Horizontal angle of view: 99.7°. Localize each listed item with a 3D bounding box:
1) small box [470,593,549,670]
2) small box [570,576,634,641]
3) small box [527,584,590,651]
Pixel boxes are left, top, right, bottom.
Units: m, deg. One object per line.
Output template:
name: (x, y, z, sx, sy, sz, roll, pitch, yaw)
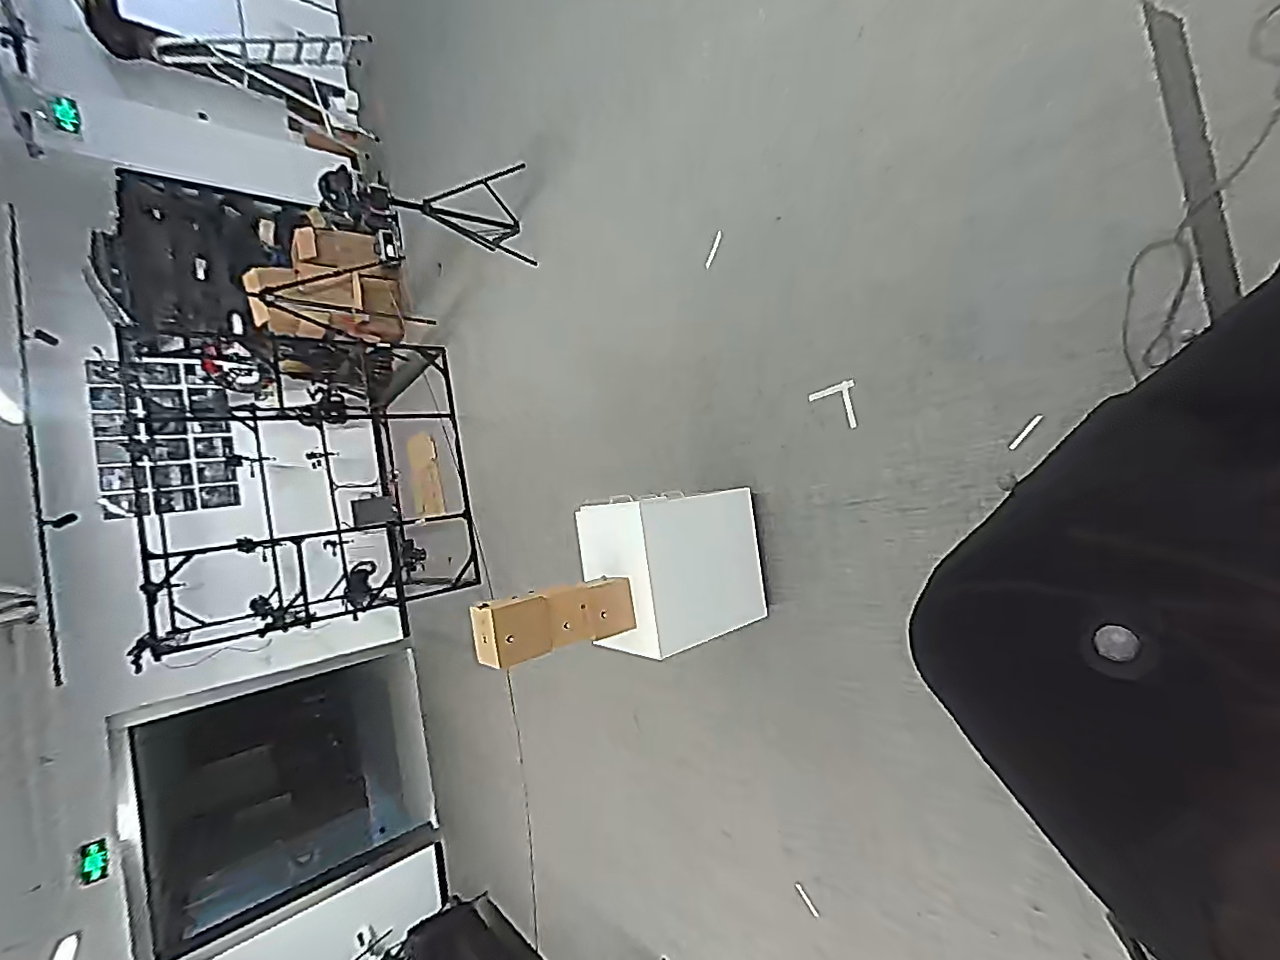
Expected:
small box: (-0.388, 0.448, 1.622, 0.168, 0.176, 0.179, -12, 86, 51)
small box: (-0.137, 0.429, 1.831, 0.168, 0.176, 0.179, -13, 85, 51)
small box: (-0.272, 0.435, 1.739, 0.179, 0.176, 0.168, -11, 87, 52)
